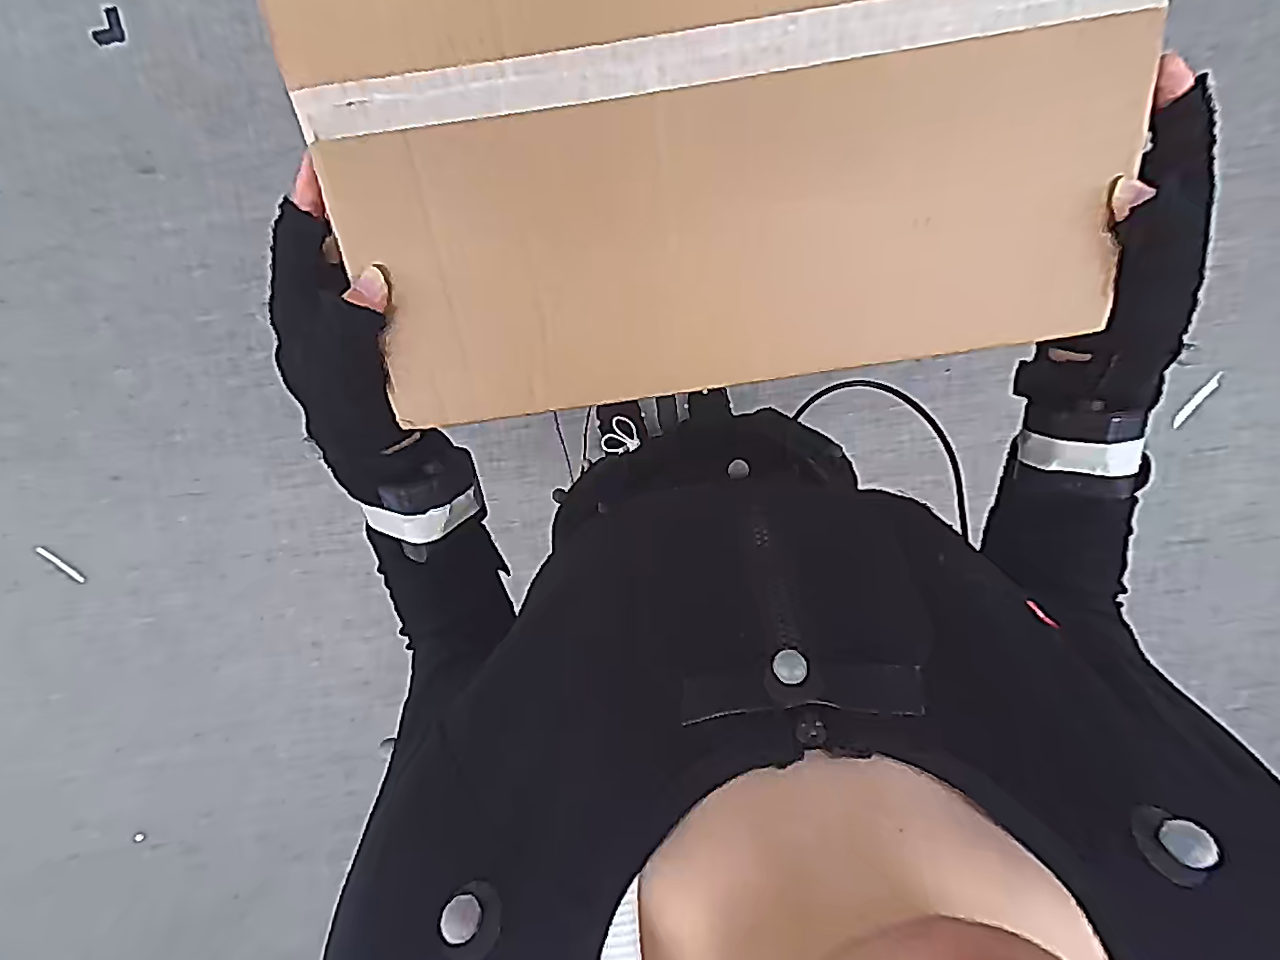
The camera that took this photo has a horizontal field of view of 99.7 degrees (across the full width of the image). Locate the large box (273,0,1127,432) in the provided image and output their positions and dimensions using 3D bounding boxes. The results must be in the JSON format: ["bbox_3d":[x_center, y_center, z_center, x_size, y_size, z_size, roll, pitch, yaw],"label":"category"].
[{"bbox_3d":[0.032,-0.255,0.399,0.408,0.320,0.320,-8,112,1],"label":"large box"}]
